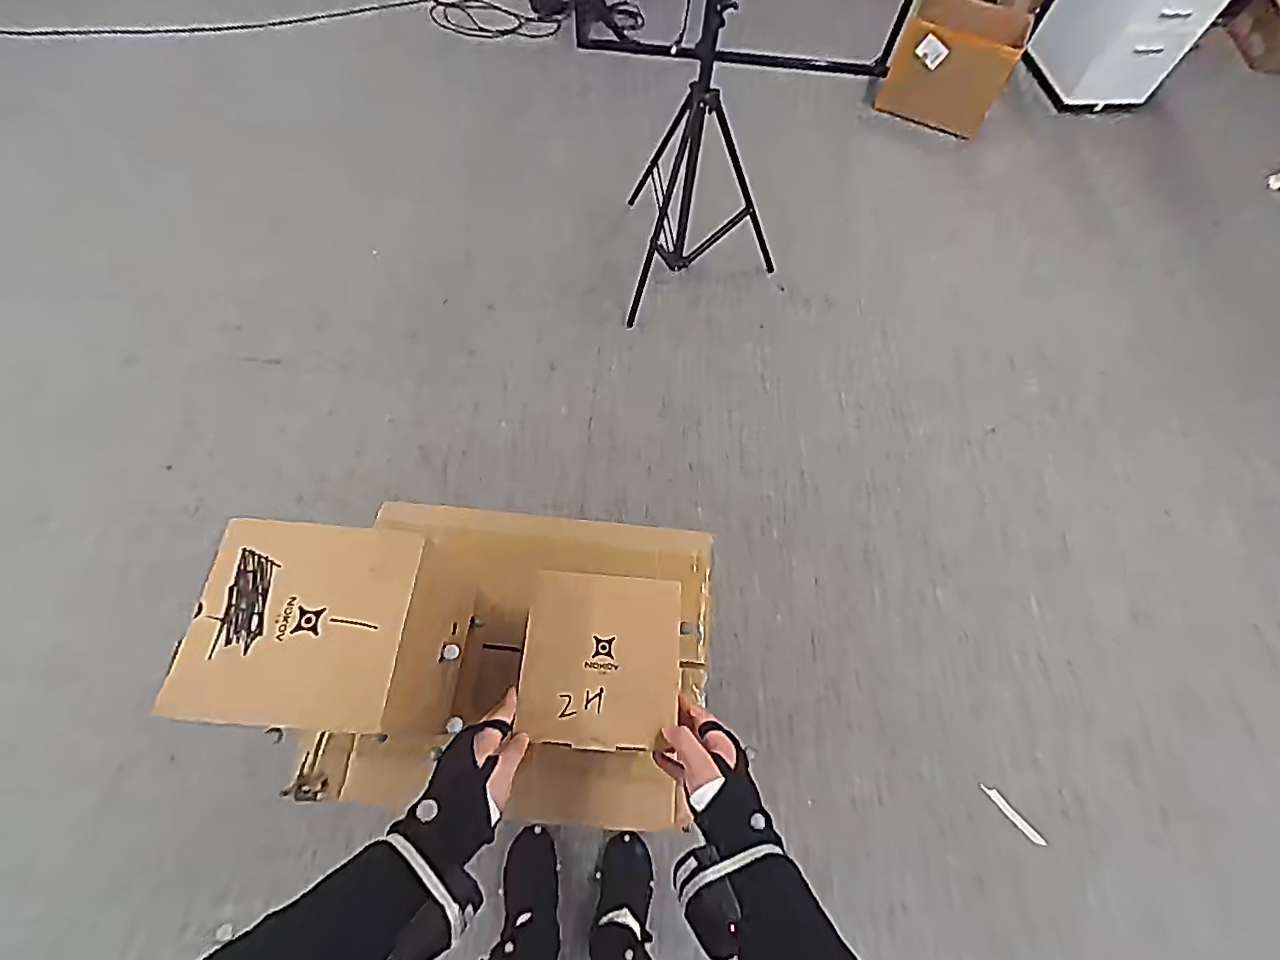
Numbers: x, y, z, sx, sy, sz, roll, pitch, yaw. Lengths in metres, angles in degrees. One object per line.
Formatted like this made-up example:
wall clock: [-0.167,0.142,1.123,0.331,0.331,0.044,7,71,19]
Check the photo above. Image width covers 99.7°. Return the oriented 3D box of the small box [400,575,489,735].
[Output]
small box: [-0.296,0.216,0.677,0.168,0.176,0.179,5,67,0]

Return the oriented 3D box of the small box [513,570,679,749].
small box: [-0.046,0.220,0.649,0.168,0.176,0.179,4,65,0]

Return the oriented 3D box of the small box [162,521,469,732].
small box: [-0.286,0.150,0.527,0.179,0.176,0.168,5,66,-2]
